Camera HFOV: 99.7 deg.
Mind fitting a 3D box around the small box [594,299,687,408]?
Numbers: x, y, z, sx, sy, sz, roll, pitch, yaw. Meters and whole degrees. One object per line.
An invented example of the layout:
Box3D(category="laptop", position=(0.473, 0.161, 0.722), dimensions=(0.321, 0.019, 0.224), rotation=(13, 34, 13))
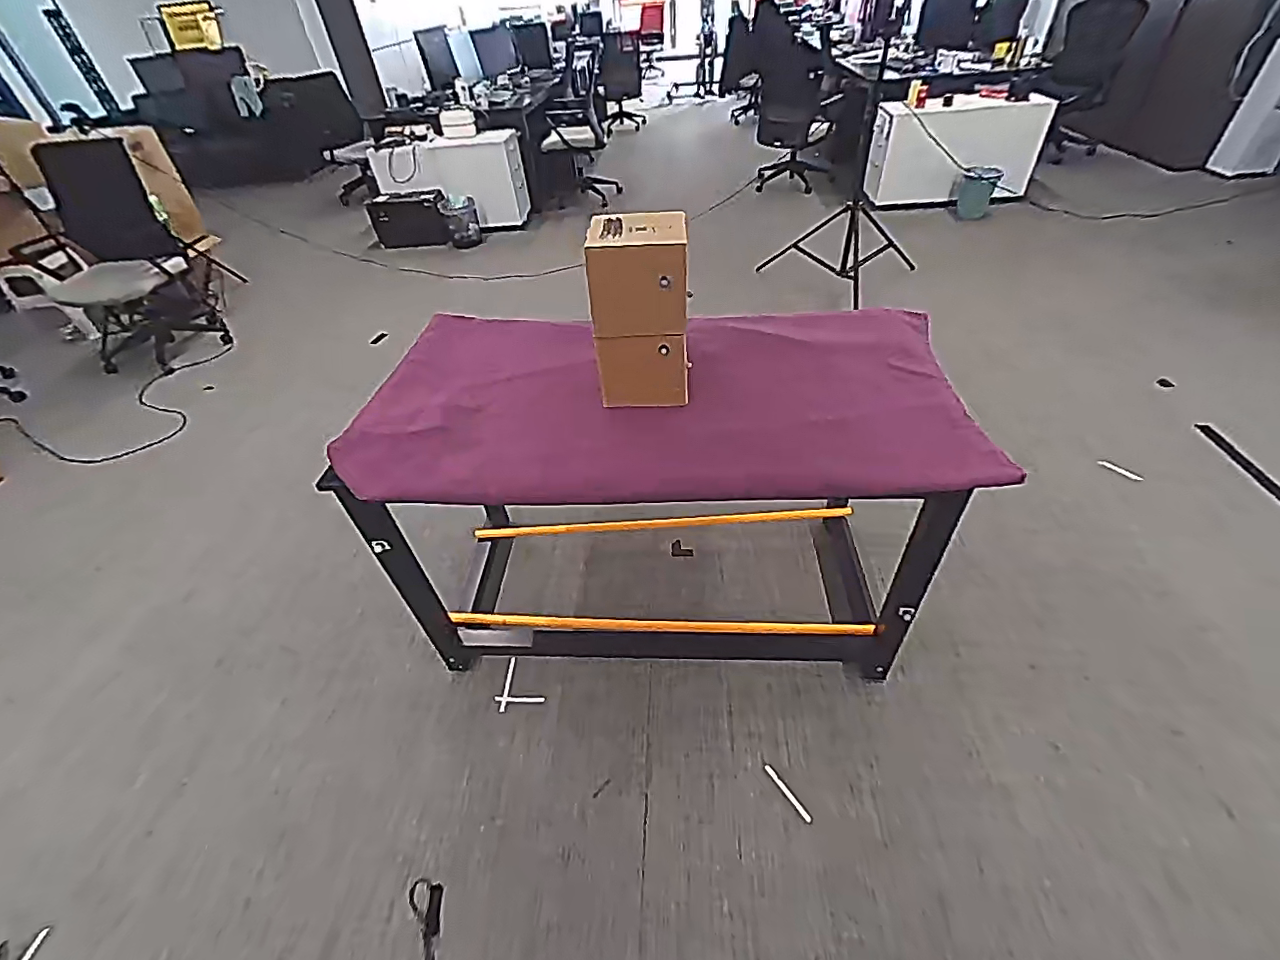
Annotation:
Box3D(category="small box", position=(0.009, -0.261, 1.127), dimensions=(0.179, 0.176, 0.168), rotation=(0, 43, 5))
